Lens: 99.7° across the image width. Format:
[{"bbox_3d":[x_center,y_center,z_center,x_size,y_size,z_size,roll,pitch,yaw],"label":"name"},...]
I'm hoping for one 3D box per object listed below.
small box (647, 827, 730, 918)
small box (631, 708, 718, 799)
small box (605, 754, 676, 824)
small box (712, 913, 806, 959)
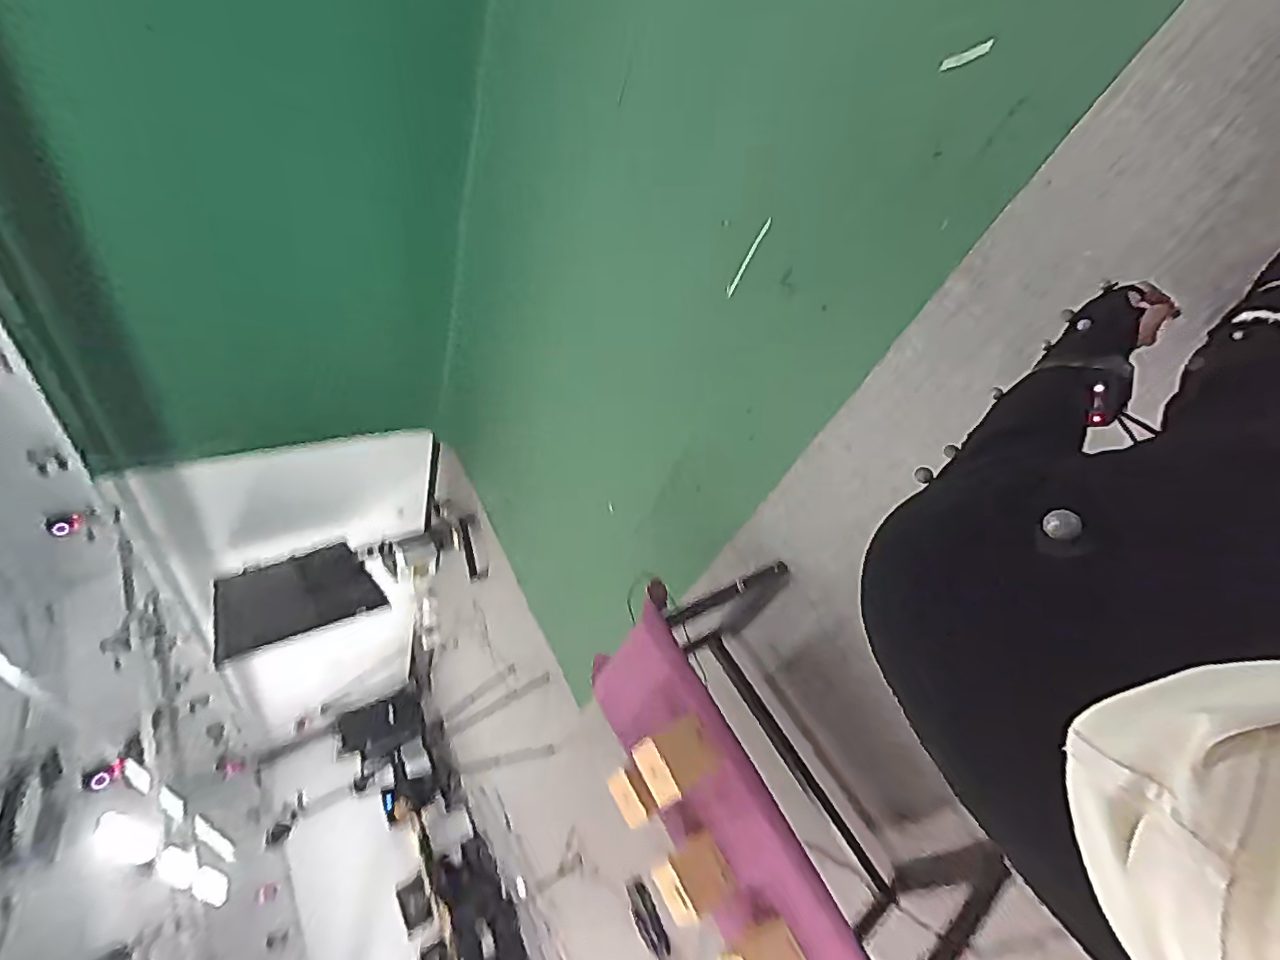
[{"bbox_3d":[0.157,1.223,1.692,0.168,0.176,0.179,55,140,26],"label":"small box"},{"bbox_3d":[0.103,0.816,1.618,0.168,0.176,0.179,56,141,24],"label":"small box"},{"bbox_3d":[0.012,1.011,1.815,0.168,0.176,0.179,54,138,26],"label":"small box"},{"bbox_3d":[0.337,1.335,1.485,0.168,0.176,0.179,56,140,25],"label":"small box"}]
